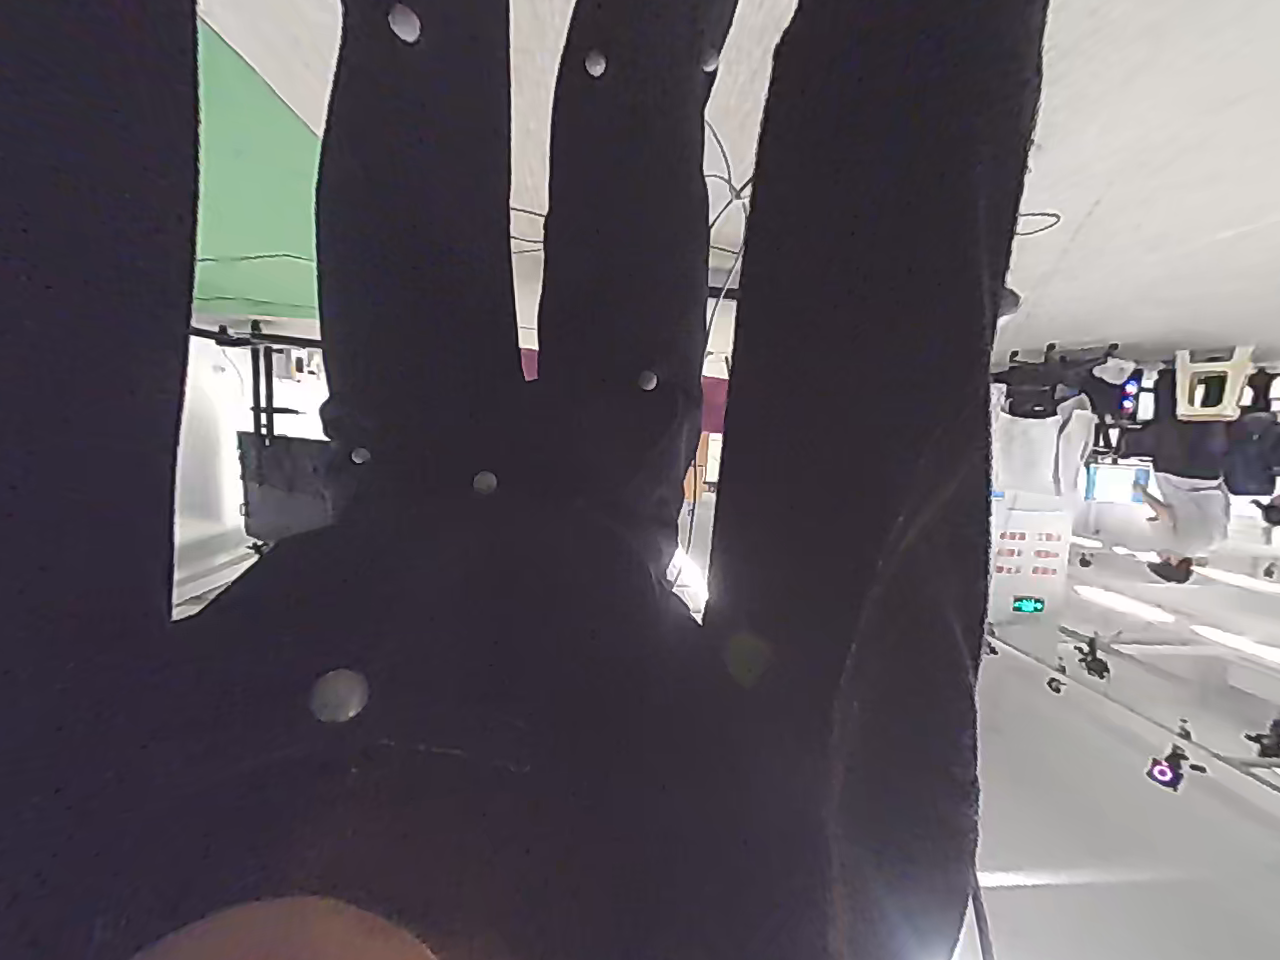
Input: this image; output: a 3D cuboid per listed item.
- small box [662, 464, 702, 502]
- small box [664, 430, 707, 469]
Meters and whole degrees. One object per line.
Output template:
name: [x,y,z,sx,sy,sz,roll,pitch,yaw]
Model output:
small box: [0.205,0.010,2.639,0.168,0.176,0.179,4,-174,-5]
small box: [0.221,-0.151,2.625,0.179,0.176,0.168,4,-174,-7]
